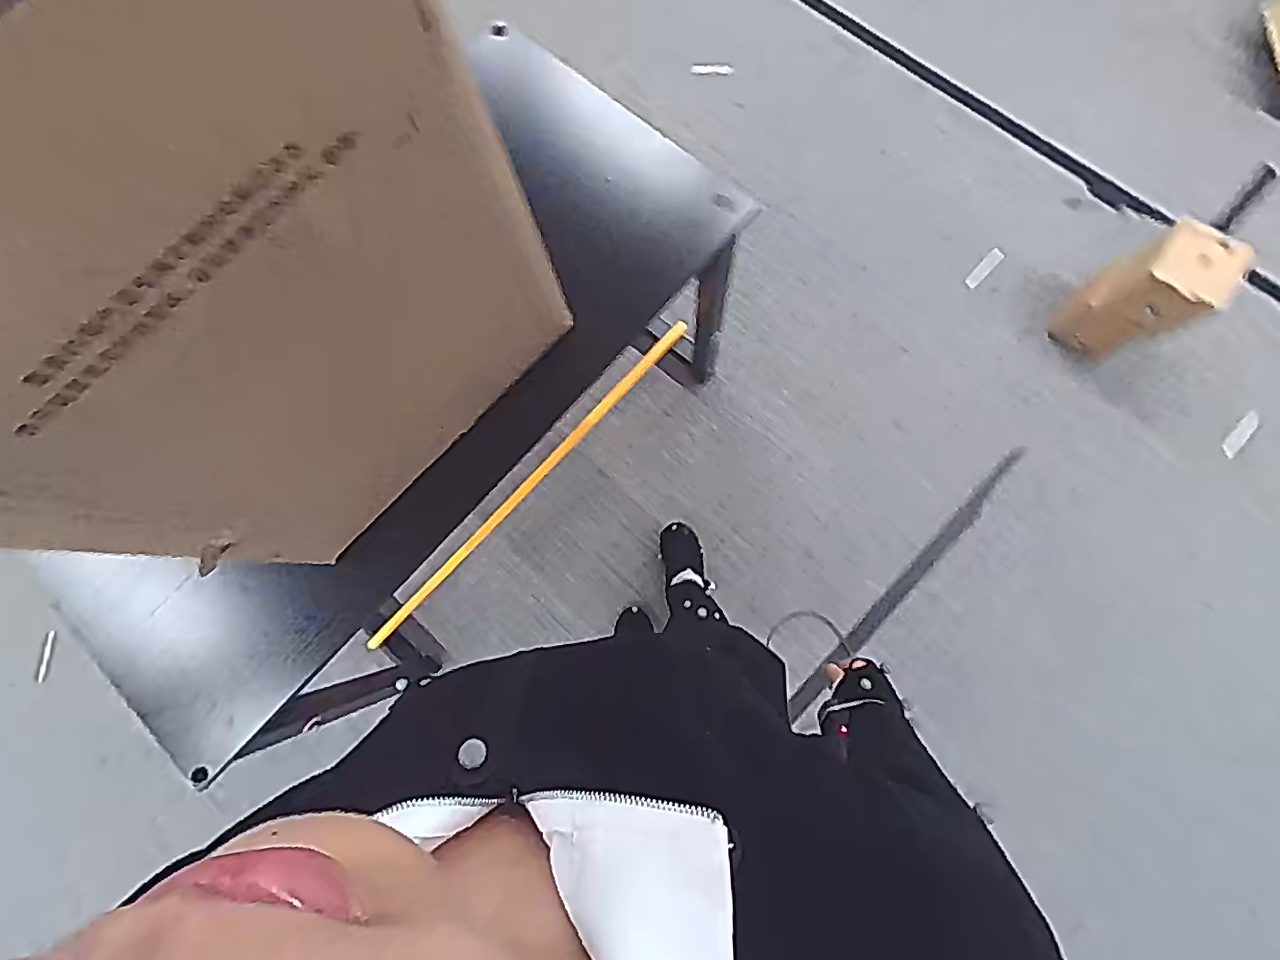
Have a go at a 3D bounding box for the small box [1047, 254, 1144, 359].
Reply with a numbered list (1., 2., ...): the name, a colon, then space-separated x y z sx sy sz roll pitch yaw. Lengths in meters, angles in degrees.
1. small box: 1.266 -0.464 1.468 0.168 0.176 0.179 36 85 10

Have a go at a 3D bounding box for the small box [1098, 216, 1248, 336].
1. small box: 1.268 -0.482 1.304 0.168 0.176 0.179 35 84 10
